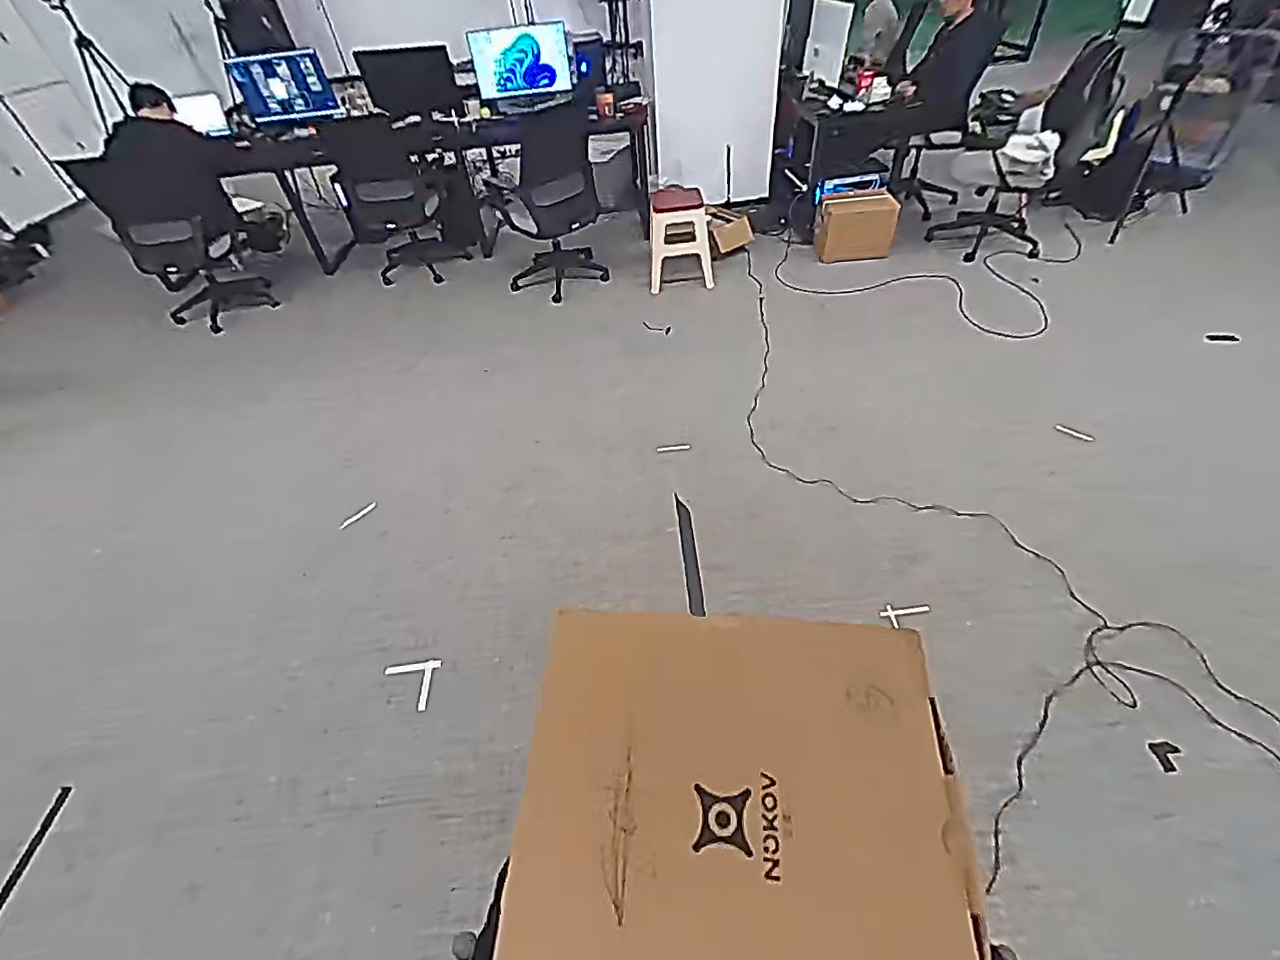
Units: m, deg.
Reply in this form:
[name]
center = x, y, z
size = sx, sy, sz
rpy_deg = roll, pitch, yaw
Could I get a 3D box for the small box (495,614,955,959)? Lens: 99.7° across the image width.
[small box]
center = 0.040, 0.184, 0.297
size = 0.179, 0.176, 0.168
rpy_deg = 2, 58, 7
